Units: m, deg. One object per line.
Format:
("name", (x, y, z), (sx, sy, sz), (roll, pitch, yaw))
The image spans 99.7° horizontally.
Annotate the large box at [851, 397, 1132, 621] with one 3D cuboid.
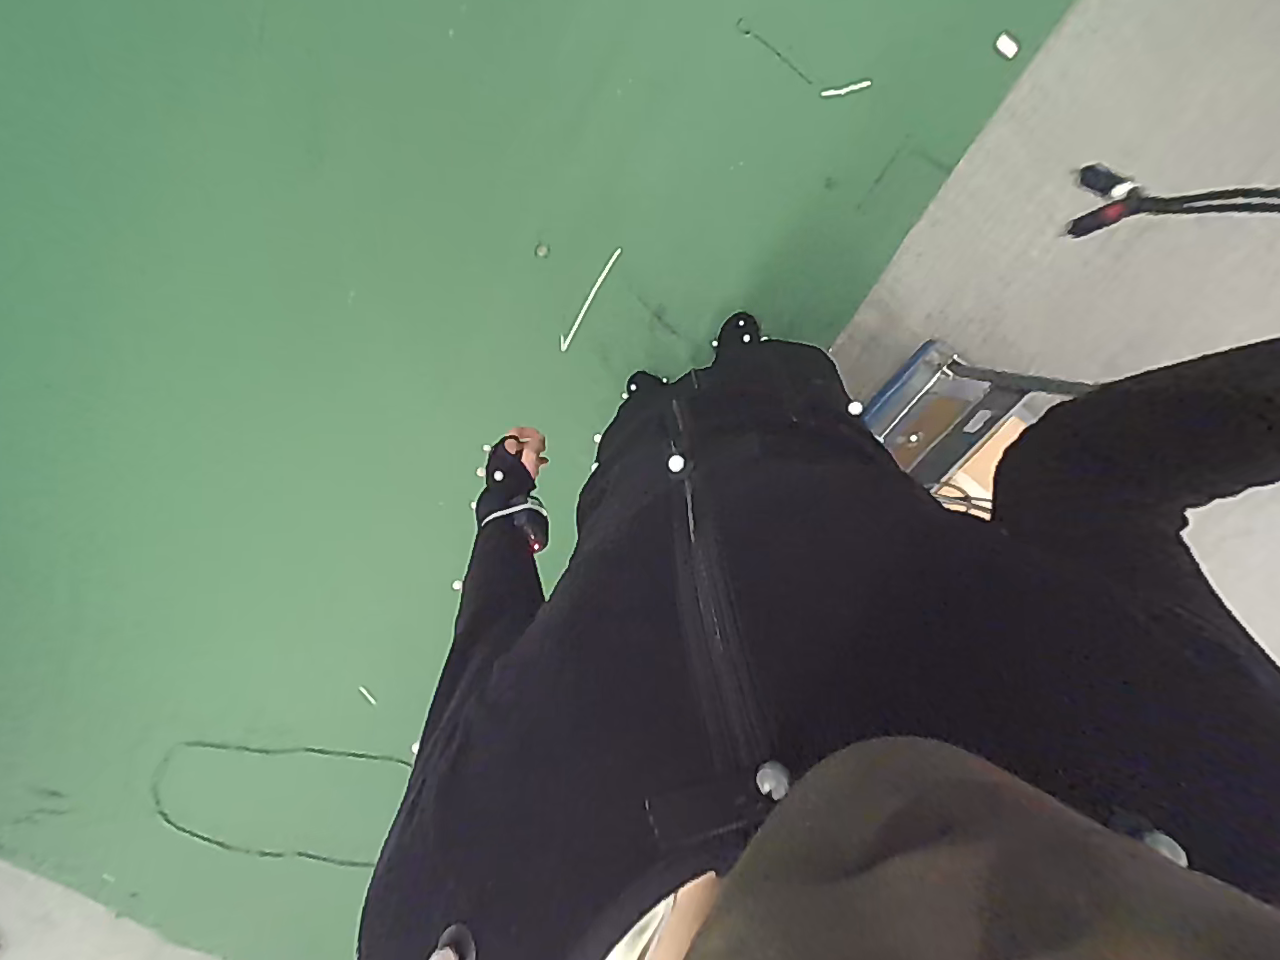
("large box", (0.803, 0.052, 1.299), (0.408, 0.320, 0.320), (36, 105, -9))
